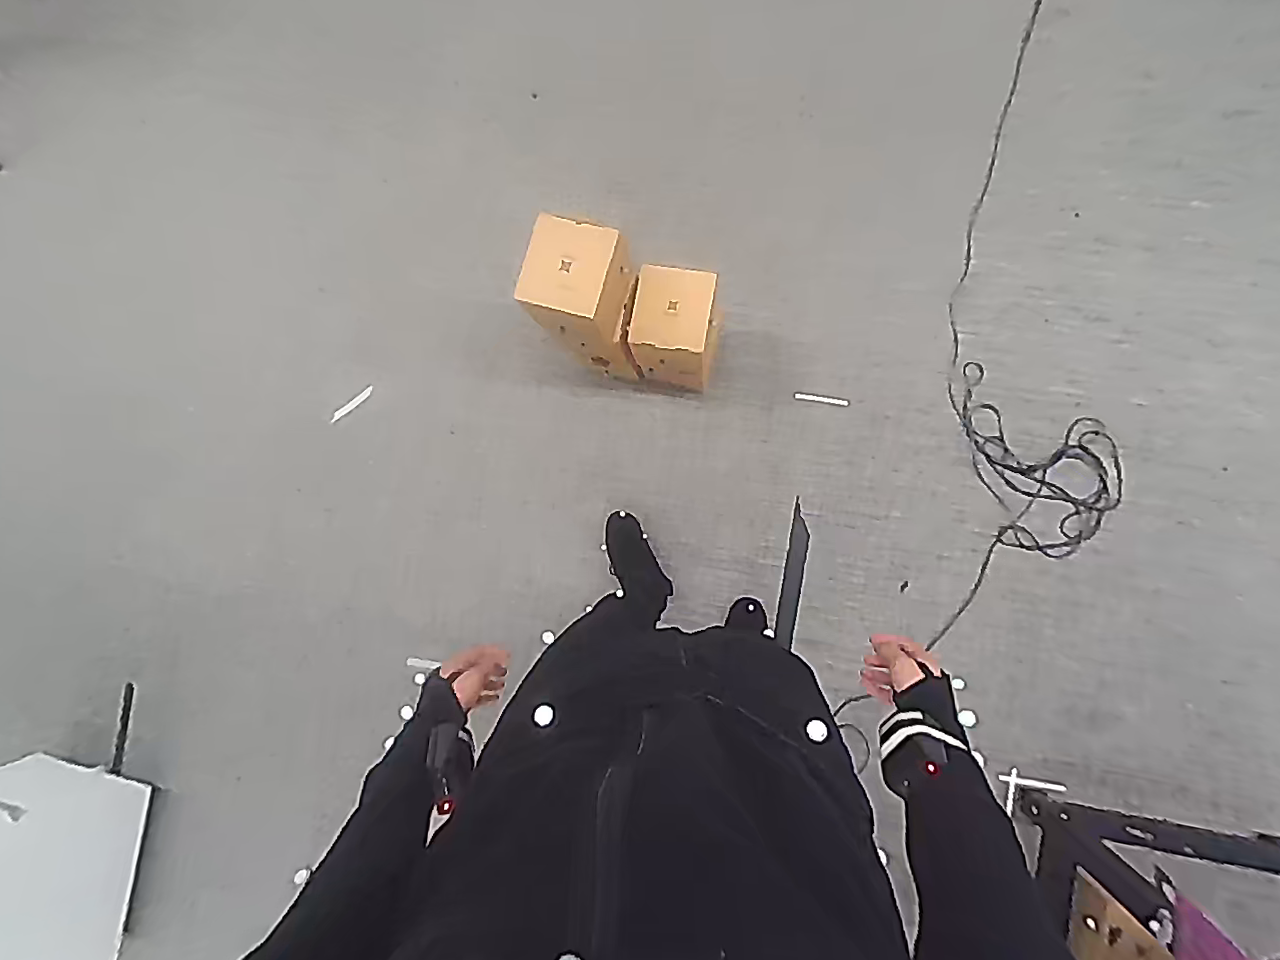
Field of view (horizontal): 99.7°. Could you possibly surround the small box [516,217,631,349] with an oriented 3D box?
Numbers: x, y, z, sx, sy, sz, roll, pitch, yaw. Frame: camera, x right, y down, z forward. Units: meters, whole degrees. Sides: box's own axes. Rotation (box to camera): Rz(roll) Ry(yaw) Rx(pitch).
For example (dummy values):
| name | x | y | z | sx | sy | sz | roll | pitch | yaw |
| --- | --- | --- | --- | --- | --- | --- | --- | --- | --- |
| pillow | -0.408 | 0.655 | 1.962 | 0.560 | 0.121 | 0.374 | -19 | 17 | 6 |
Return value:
| name | x | y | z | sx | sy | sz | roll | pitch | yaw |
| --- | --- | --- | --- | --- | --- | --- | --- | --- | --- |
| small box | -0.122 | -0.387 | 1.088 | 0.168 | 0.176 | 0.179 | 17 | 89 | 9 |
